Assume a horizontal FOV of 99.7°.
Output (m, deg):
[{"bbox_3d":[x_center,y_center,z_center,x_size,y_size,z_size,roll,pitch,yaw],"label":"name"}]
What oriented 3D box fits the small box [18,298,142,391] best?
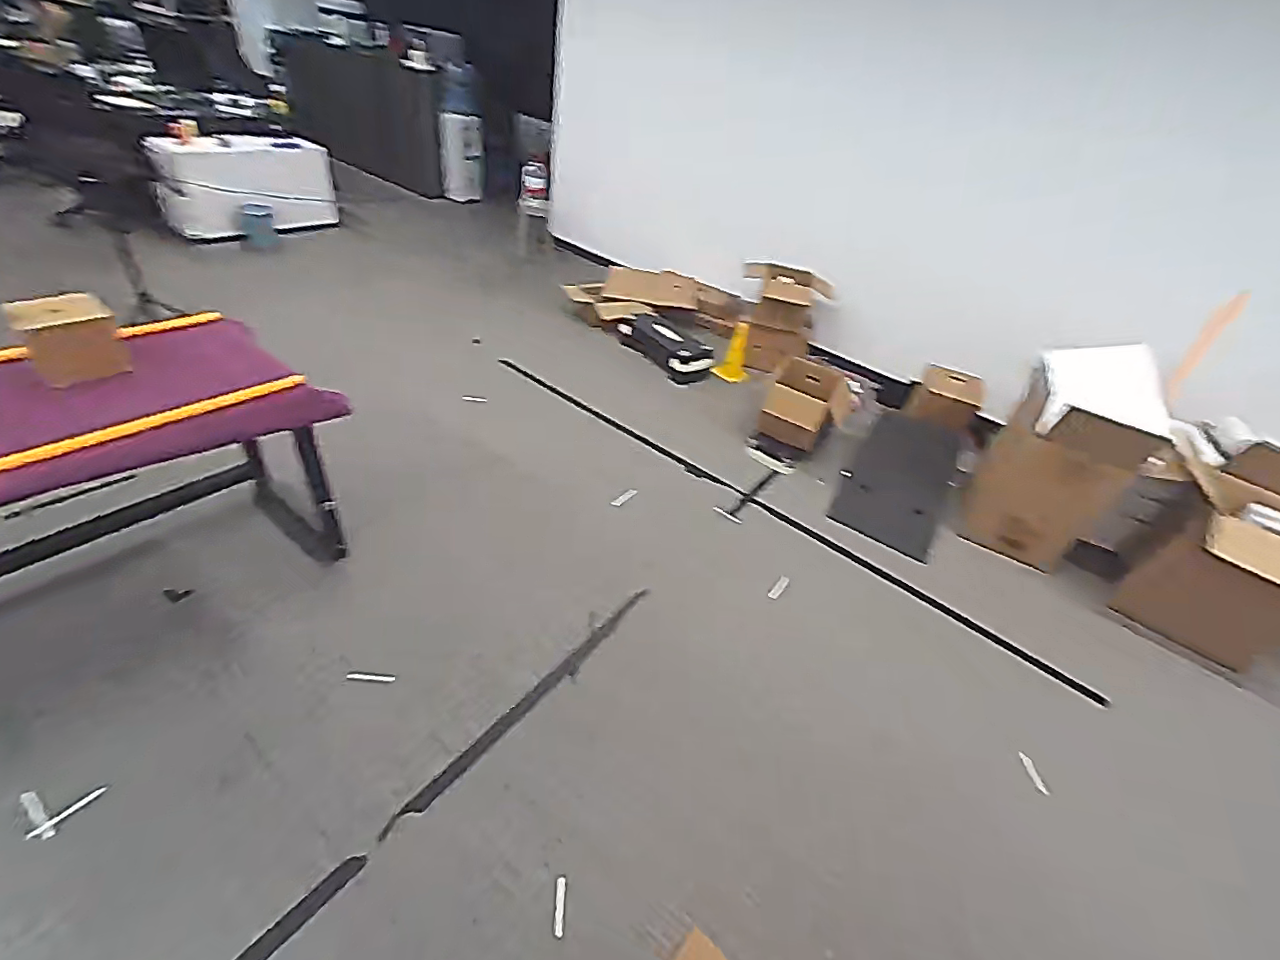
[{"bbox_3d":[-1.510,-0.370,1.472,0.168,0.176,0.179,34,45,24],"label":"small box"}]
